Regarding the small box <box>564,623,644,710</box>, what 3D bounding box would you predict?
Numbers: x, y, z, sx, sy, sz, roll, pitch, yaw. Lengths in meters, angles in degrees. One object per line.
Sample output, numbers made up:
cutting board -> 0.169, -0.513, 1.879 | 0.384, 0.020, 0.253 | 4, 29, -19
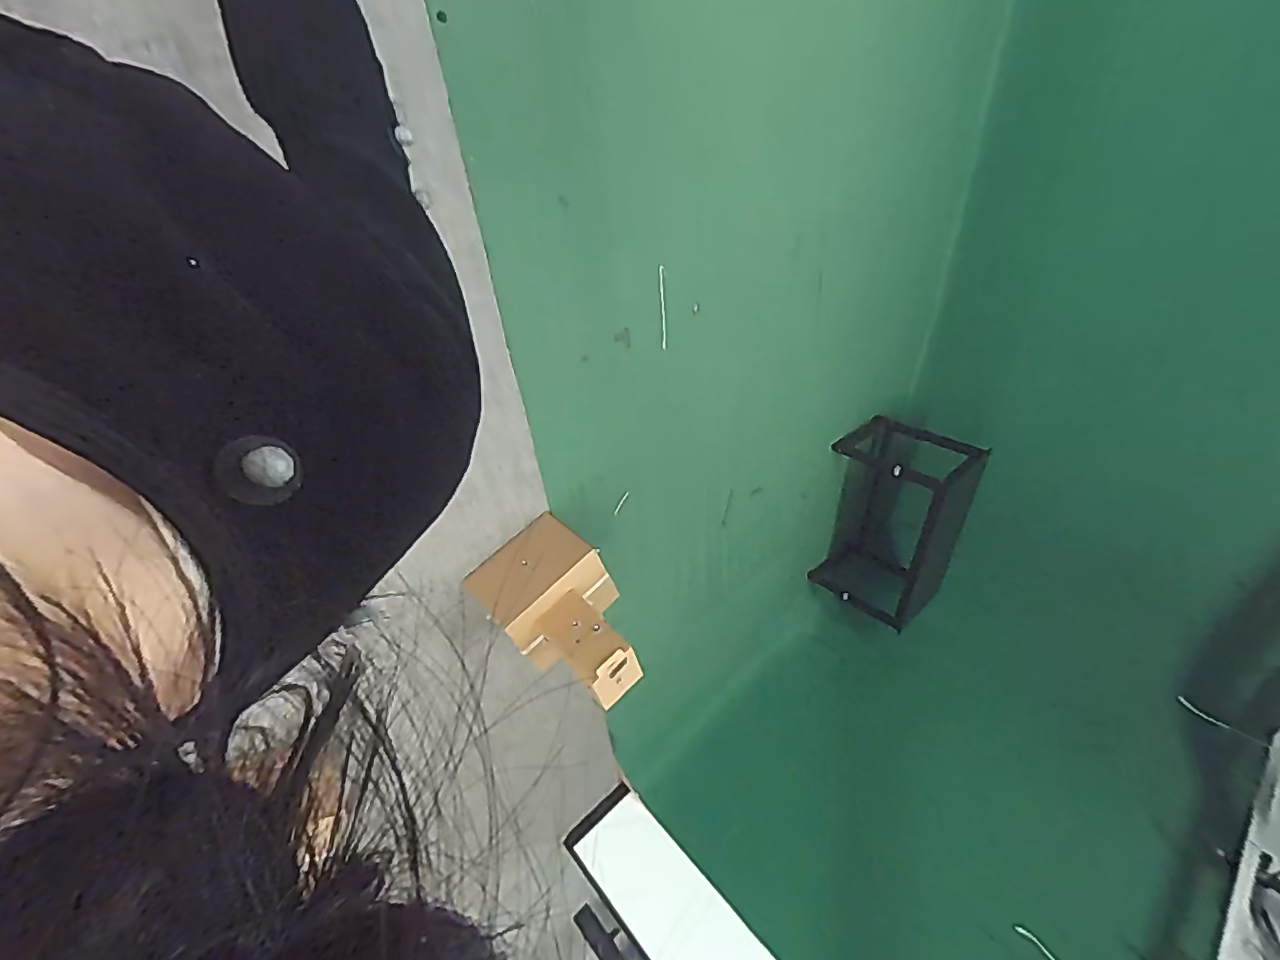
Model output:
small box -> -0.117, 0.584, 1.724 | 0.168, 0.176, 0.179 | -37, 134, -24

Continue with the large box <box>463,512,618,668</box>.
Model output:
large box -> -0.360, 0.397, 1.998 | 0.408, 0.320, 0.320 | -42, 138, -21

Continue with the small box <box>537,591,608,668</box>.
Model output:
small box -> -0.218, 0.511, 1.832 | 0.179, 0.176, 0.168 | -38, 134, -22
